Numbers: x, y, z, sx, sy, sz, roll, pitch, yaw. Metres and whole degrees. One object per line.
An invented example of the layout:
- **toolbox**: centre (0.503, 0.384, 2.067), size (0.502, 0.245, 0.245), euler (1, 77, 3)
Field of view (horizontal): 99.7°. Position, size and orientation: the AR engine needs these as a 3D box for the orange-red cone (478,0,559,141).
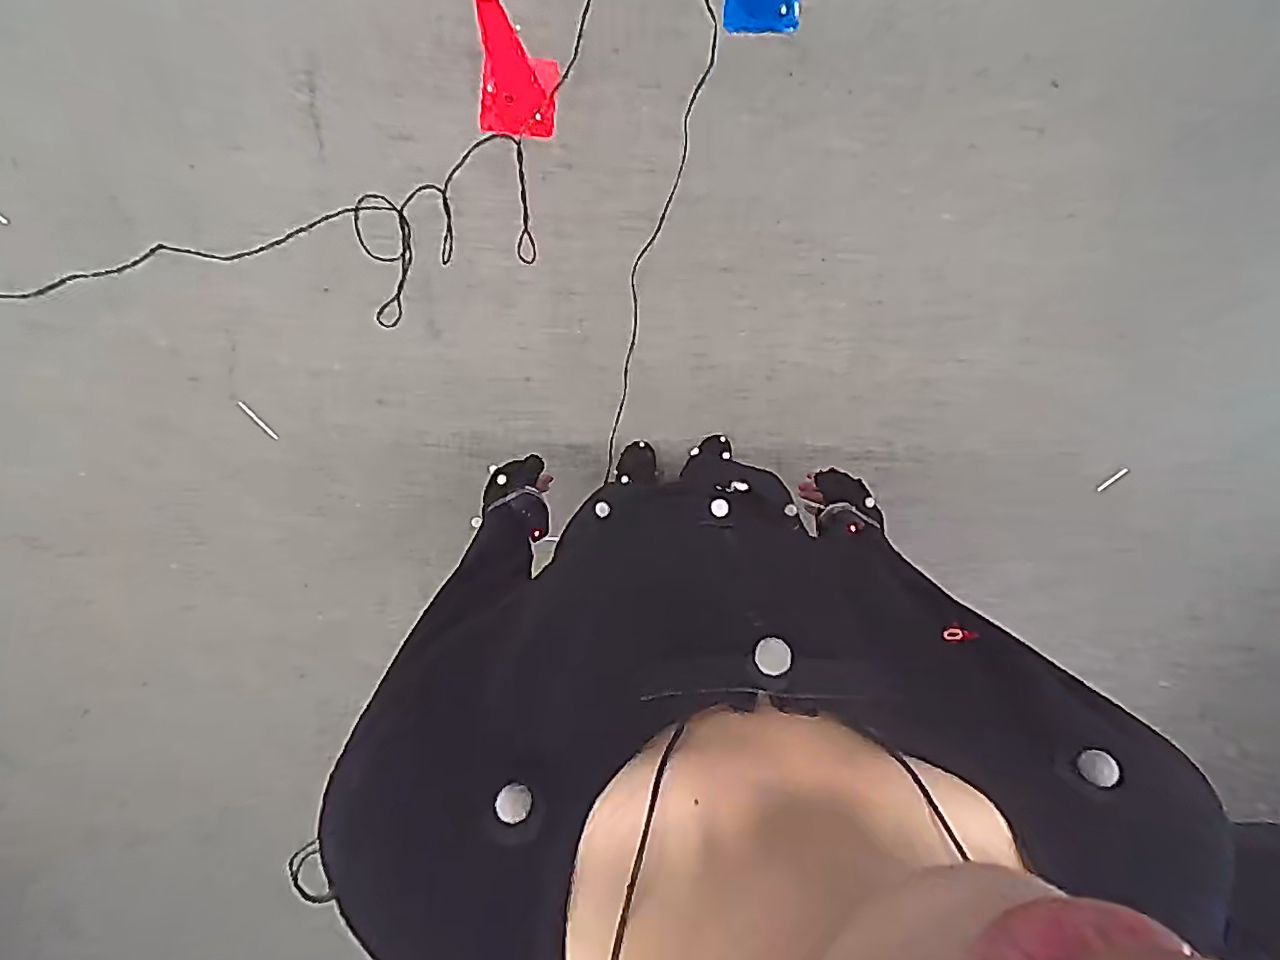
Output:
- **orange-red cone**: centre (-0.315, -0.997, 1.256), size (0.198, 0.360, 0.199), euler (6, 93, -2)
